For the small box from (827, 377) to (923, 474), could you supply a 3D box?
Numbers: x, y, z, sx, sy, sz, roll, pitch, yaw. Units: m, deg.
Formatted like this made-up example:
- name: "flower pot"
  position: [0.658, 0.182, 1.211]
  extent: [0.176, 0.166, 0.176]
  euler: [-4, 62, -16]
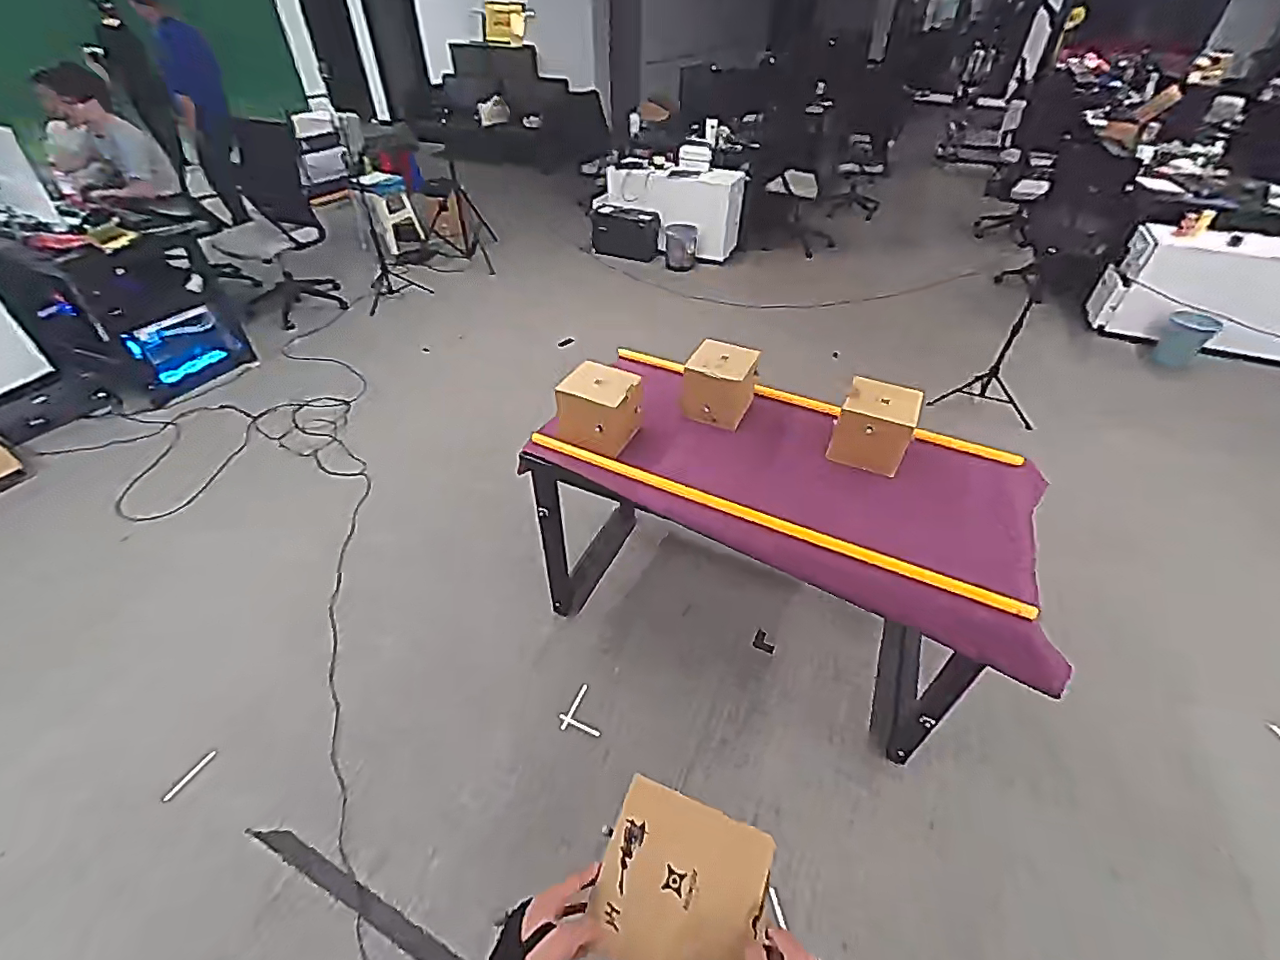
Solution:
- name: "small box"
  position: [0.607, -0.139, 1.406]
  extent: [0.179, 0.176, 0.168]
  euler: [19, 47, 20]

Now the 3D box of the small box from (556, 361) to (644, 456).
- name: "small box"
  position: [-0.105, -0.187, 1.443]
  extent: [0.179, 0.176, 0.168]
  euler: [20, 45, 17]

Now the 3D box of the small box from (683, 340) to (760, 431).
- name: "small box"
  position: [0.228, -0.271, 1.542]
  extent: [0.168, 0.176, 0.179]
  euler: [19, 47, 19]

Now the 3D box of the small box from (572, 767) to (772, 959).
- name: "small box"
  position: [0.032, 0.474, 0.641]
  extent: [0.179, 0.176, 0.168]
  euler: [21, 52, 9]
